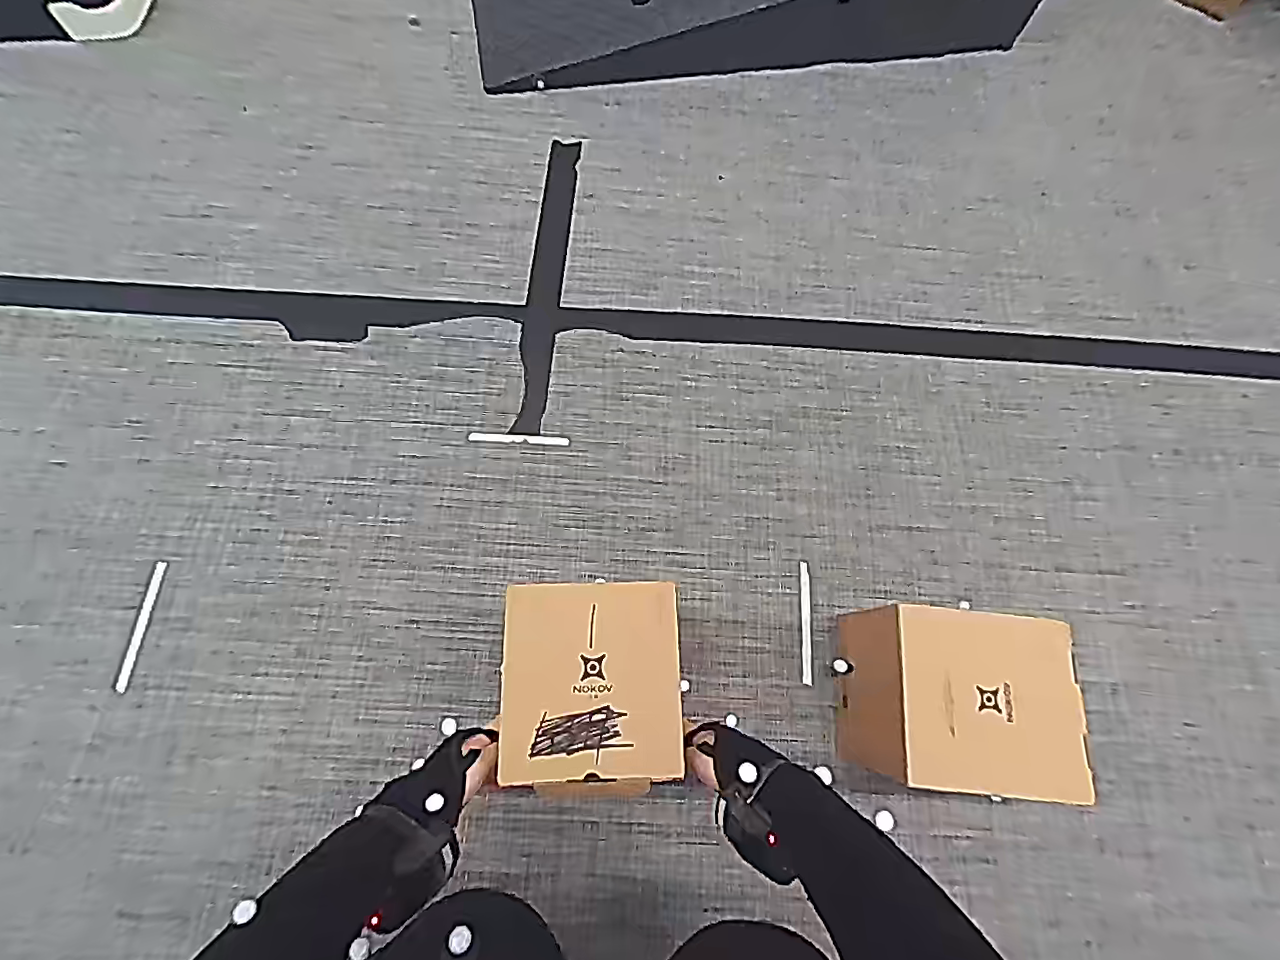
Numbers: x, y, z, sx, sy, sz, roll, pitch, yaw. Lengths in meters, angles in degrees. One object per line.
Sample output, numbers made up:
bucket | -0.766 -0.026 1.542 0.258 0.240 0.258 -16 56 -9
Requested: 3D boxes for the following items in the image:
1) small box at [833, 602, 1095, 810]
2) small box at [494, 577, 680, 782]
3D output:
small box | 0.326 0.230 0.580 0.179 0.176 0.168 7 72 0
small box | -0.049 0.200 0.567 0.168 0.176 0.179 0 72 -3
